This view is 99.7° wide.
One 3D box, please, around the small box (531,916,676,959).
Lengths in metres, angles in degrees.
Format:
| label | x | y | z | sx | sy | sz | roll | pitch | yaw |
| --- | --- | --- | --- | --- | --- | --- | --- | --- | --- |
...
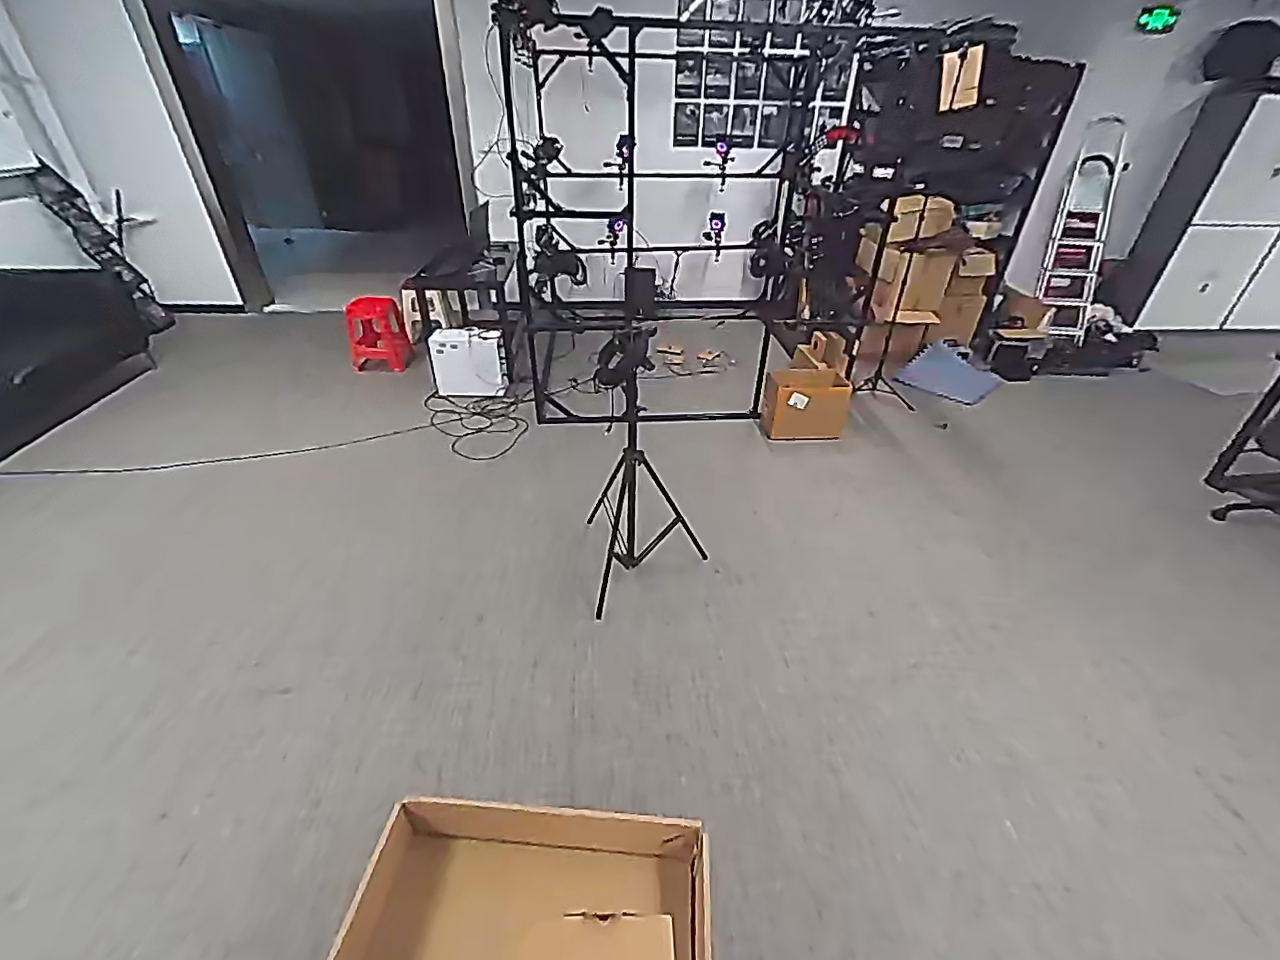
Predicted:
| label | x | y | z | sx | sy | sz | roll | pitch | yaw |
| --- | --- | --- | --- | --- | --- | --- | --- | --- | --- |
| small box | -0.047 | 0.628 | 0.606 | 0.168 | 0.176 | 0.179 | 3 | 33 | -3 |
